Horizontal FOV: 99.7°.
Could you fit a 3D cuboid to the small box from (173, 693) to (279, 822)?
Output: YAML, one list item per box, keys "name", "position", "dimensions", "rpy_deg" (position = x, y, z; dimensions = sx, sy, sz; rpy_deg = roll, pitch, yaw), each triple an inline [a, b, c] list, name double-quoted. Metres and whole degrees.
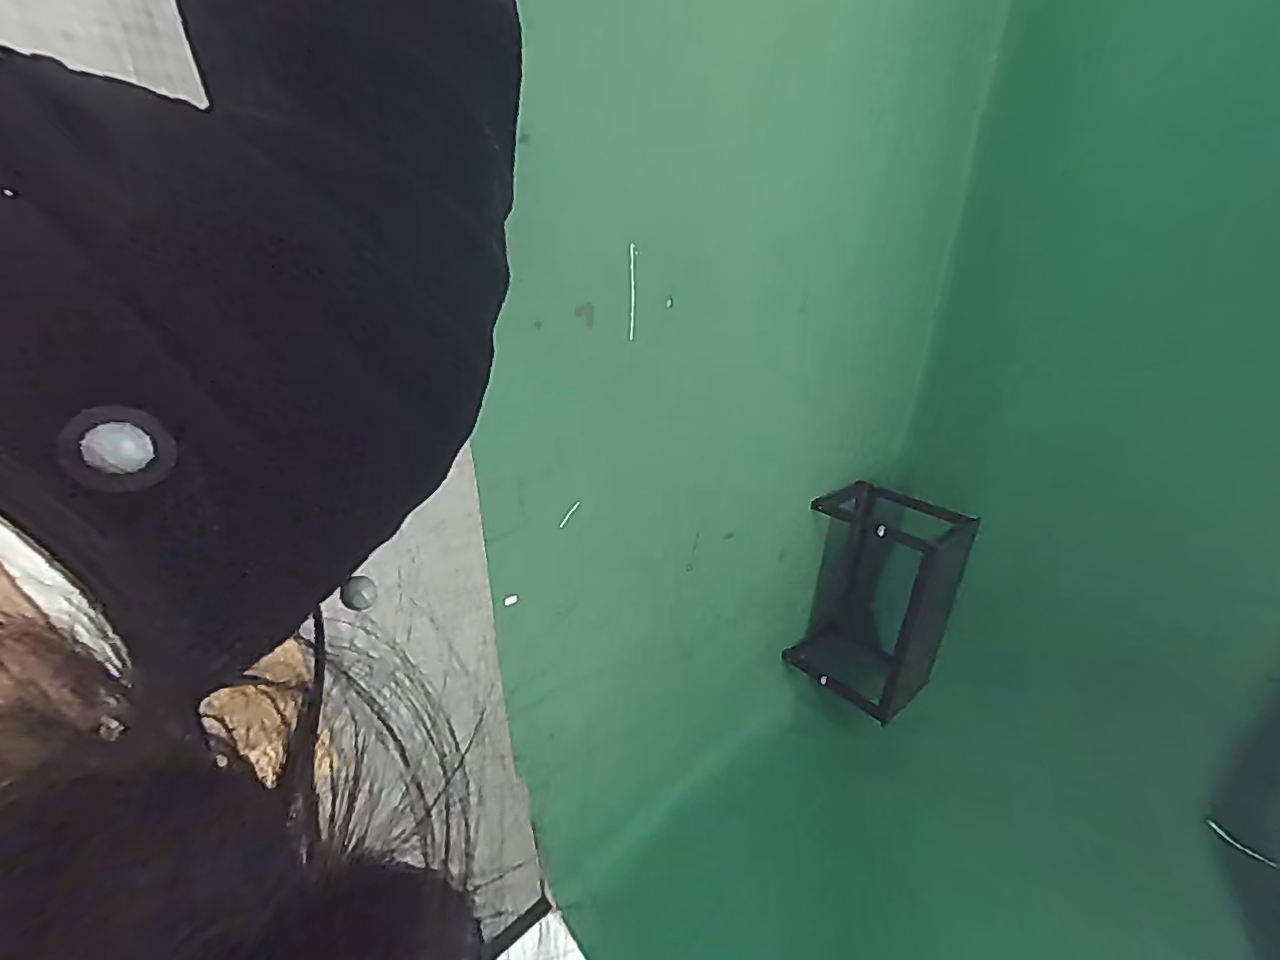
- name: "small box"
  position: [-0.947, 0.619, 1.238]
  dimensions: [0.168, 0.176, 0.179]
  rpy_deg: [-11, 116, -39]
